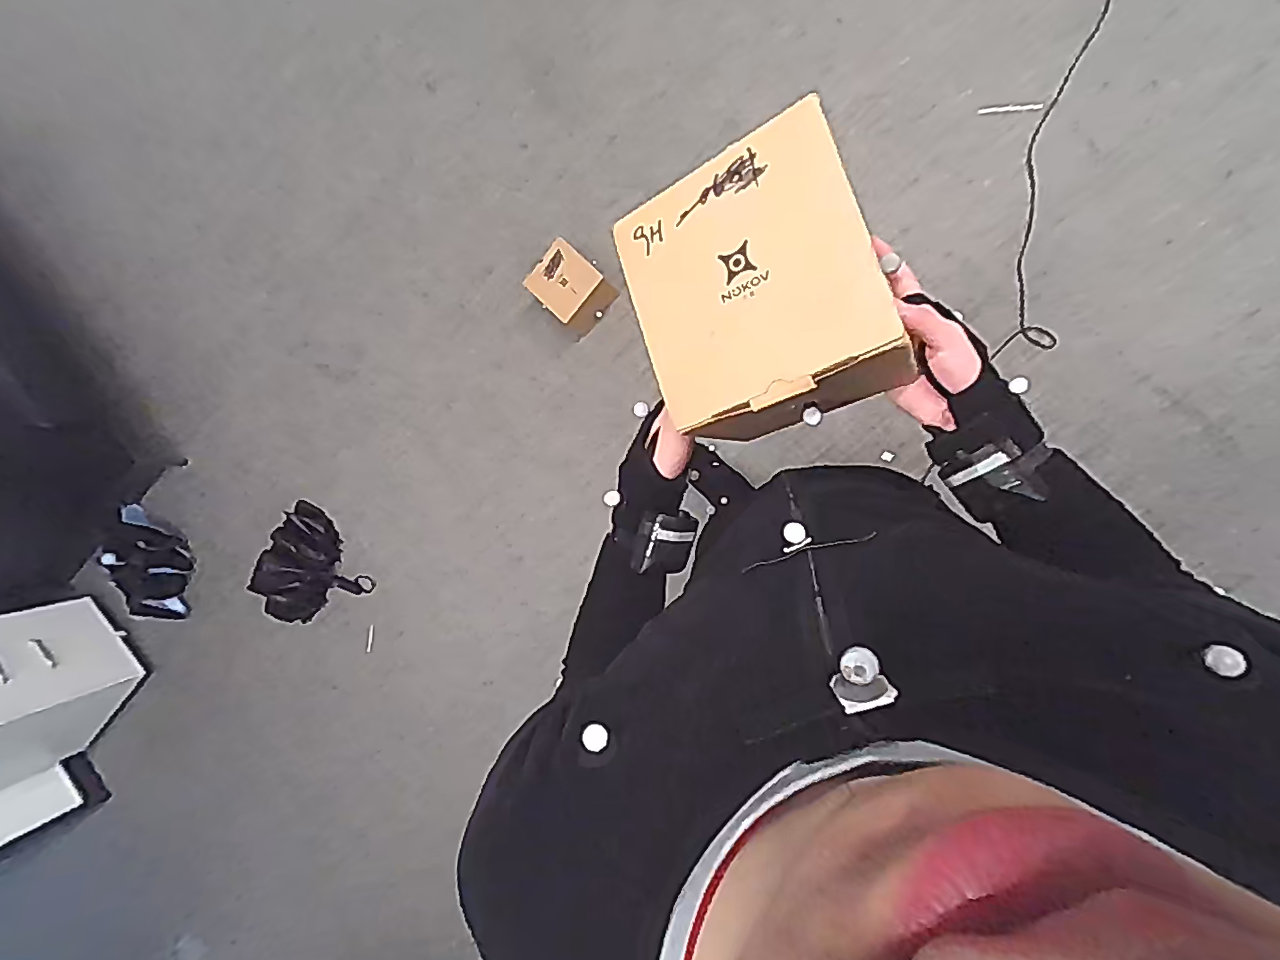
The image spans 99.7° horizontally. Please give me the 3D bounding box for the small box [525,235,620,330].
[{"bbox_3d":[-0.187,-0.554,1.545,0.179,0.176,0.168,44,103,7],"label":"small box"}]

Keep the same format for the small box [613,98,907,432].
[{"bbox_3d":[0.108,-0.148,0.448,0.168,0.176,0.179,-20,83,28],"label":"small box"}]
